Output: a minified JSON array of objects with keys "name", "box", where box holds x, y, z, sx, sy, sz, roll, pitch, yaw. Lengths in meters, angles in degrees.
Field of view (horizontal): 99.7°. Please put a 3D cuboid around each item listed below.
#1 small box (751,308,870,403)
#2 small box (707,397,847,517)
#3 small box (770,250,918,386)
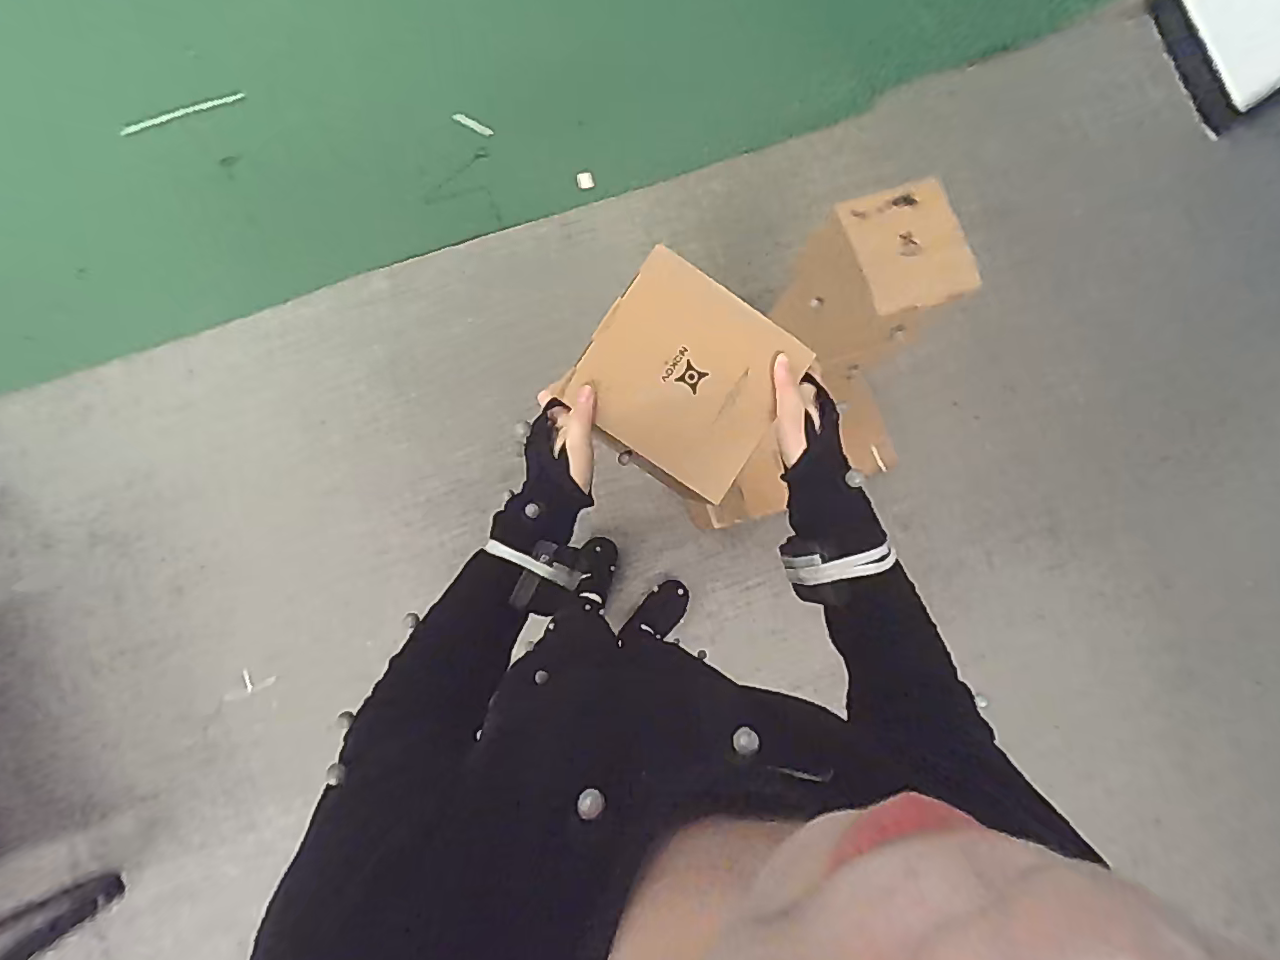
[{"name":"small box","box":[0.365,-0.282,1.165,0.179,0.176,0.168,-19,85,-7]},{"name":"small box","box":[0.234,-0.035,0.966,0.179,0.176,0.168,-15,86,-3]},{"name":"small box","box":[0.366,-0.290,0.999,0.179,0.176,0.168,-16,84,-6]}]
